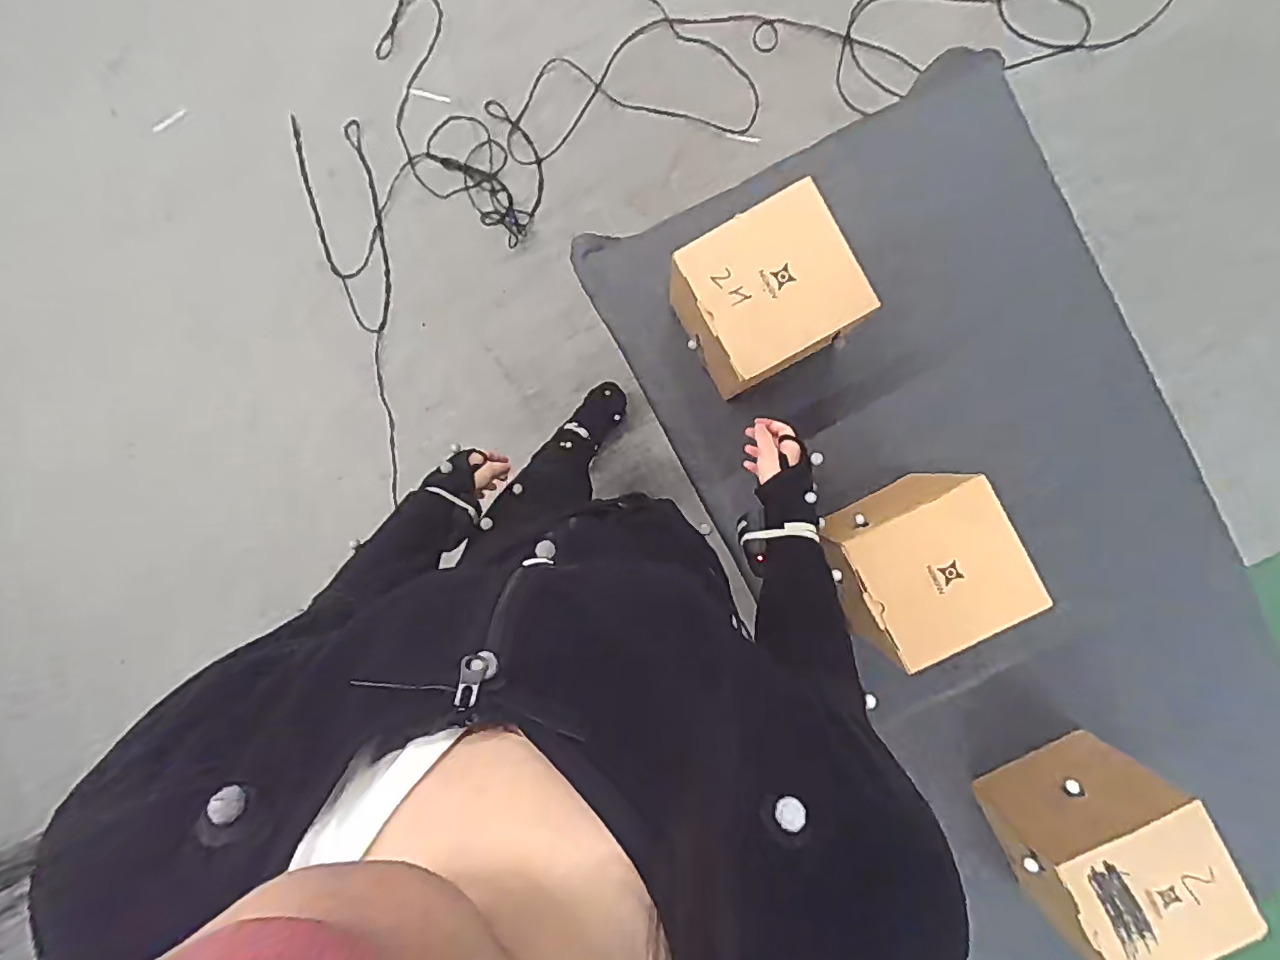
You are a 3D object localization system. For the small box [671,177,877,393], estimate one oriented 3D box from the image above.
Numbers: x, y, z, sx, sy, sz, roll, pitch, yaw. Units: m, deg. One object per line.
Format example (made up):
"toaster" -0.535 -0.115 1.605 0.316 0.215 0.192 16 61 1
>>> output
"small box" 0.150 -0.225 0.674 0.179 0.176 0.168 -29 91 2

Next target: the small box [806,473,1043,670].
"small box" 0.338 0.099 0.681 0.179 0.176 0.168 -29 91 4
